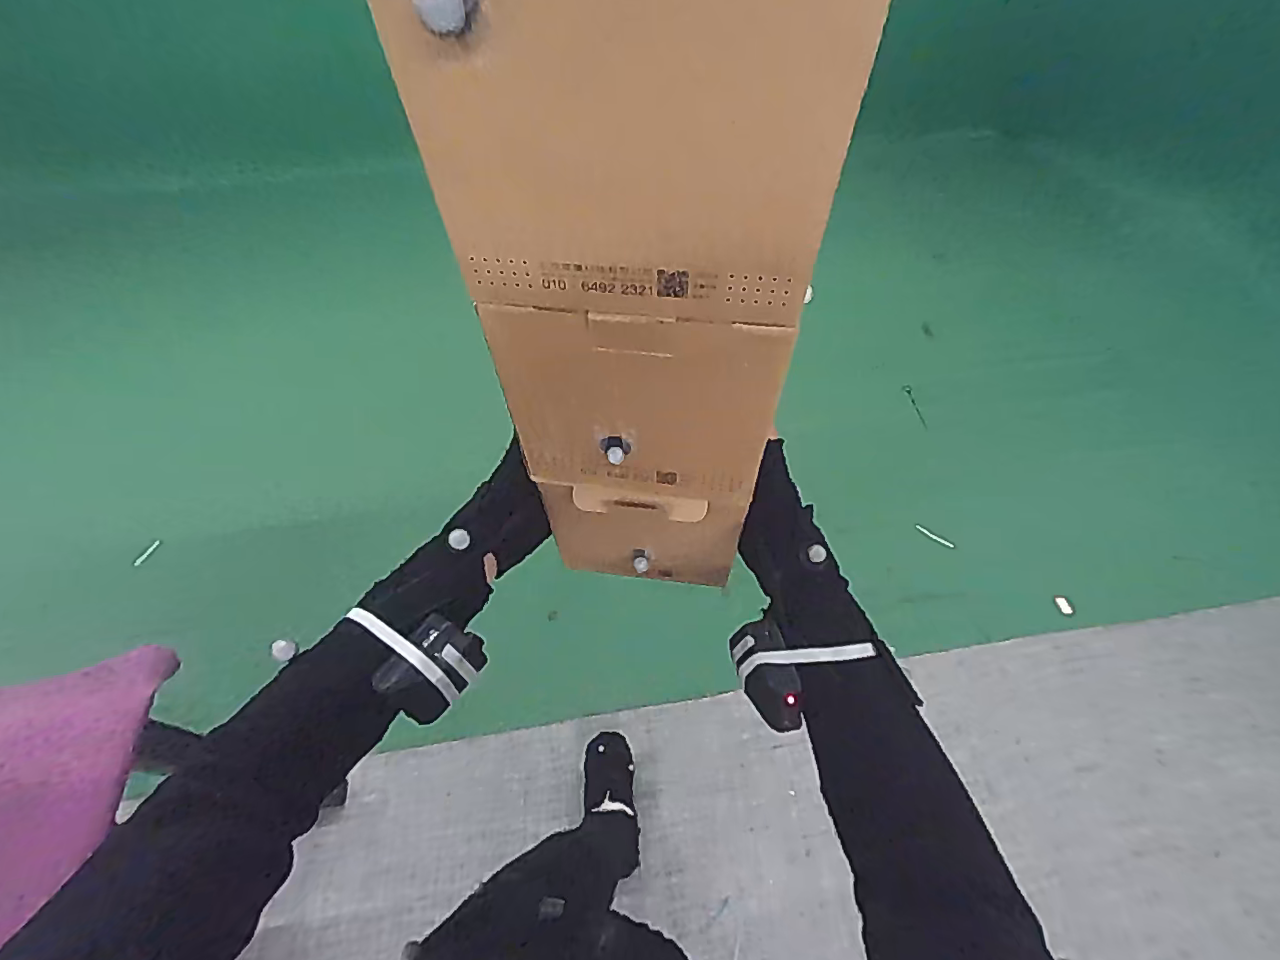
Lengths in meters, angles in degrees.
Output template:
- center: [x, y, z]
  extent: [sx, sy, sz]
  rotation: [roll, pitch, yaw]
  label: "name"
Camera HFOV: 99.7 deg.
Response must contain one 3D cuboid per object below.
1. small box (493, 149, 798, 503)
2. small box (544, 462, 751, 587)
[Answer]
- center: [0.013, -0.107, 0.394]
  extent: [0.168, 0.176, 0.179]
  rotation: [6, 57, 5]
  label: "small box"
- center: [0.017, -0.017, 0.529]
  extent: [0.168, 0.176, 0.179]
  rotation: [7, 57, 6]
  label: "small box"
